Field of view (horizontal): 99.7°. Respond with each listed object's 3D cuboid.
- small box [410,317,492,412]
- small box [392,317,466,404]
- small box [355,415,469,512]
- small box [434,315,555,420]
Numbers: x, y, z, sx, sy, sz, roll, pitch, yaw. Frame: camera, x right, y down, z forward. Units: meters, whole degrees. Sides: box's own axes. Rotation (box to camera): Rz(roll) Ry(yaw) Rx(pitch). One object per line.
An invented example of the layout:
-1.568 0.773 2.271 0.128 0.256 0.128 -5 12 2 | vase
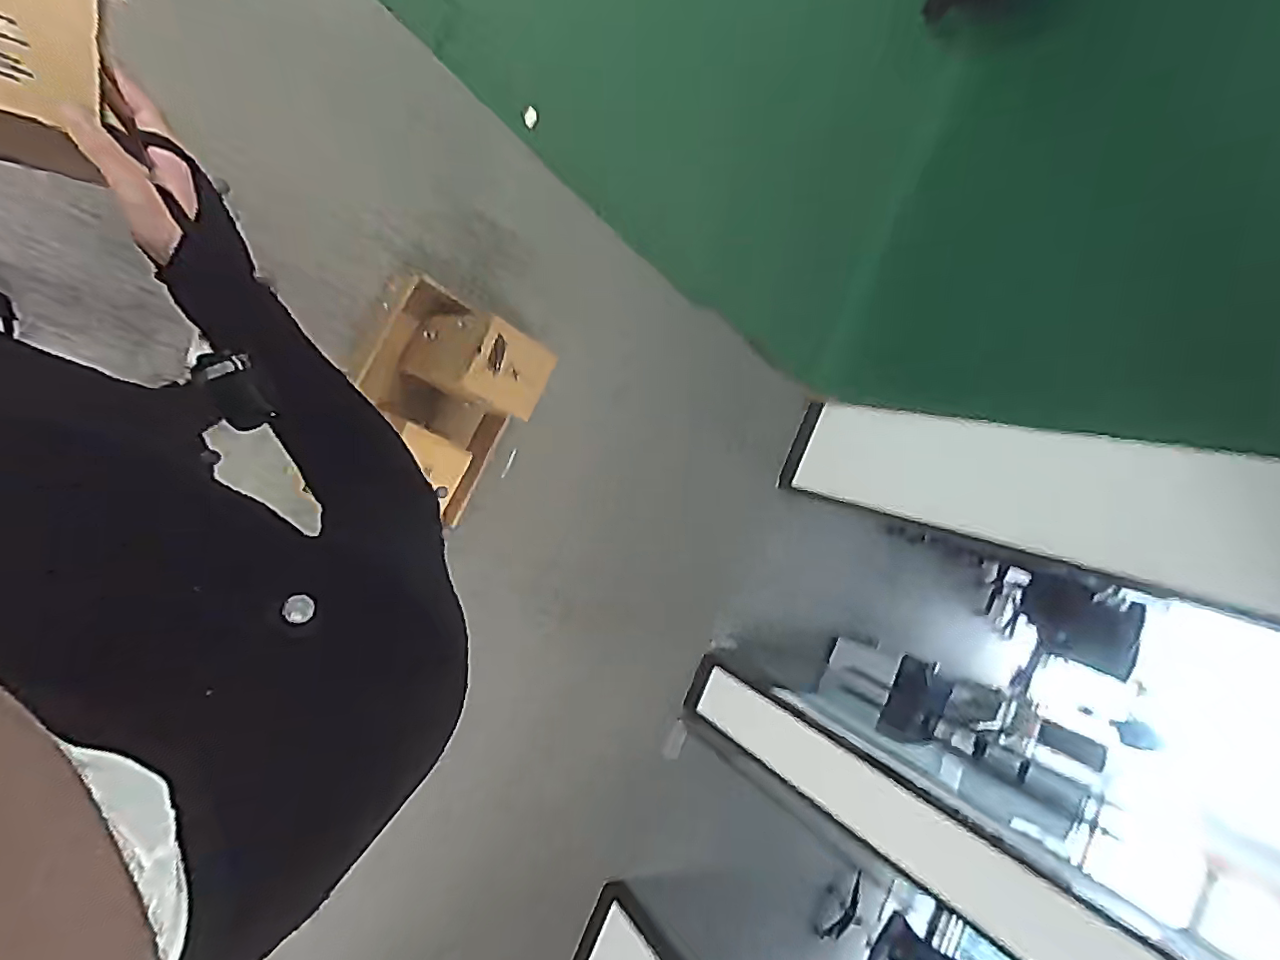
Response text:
-0.435 -0.292 1.347 0.179 0.176 0.168 33 82 -41 | small box
-0.536 -0.329 1.468 0.179 0.176 0.168 33 81 -42 | small box
-0.559 -0.045 1.319 0.179 0.176 0.168 33 81 -41 | small box
-0.334 -0.255 1.223 0.179 0.176 0.168 30 83 -43 | small box
